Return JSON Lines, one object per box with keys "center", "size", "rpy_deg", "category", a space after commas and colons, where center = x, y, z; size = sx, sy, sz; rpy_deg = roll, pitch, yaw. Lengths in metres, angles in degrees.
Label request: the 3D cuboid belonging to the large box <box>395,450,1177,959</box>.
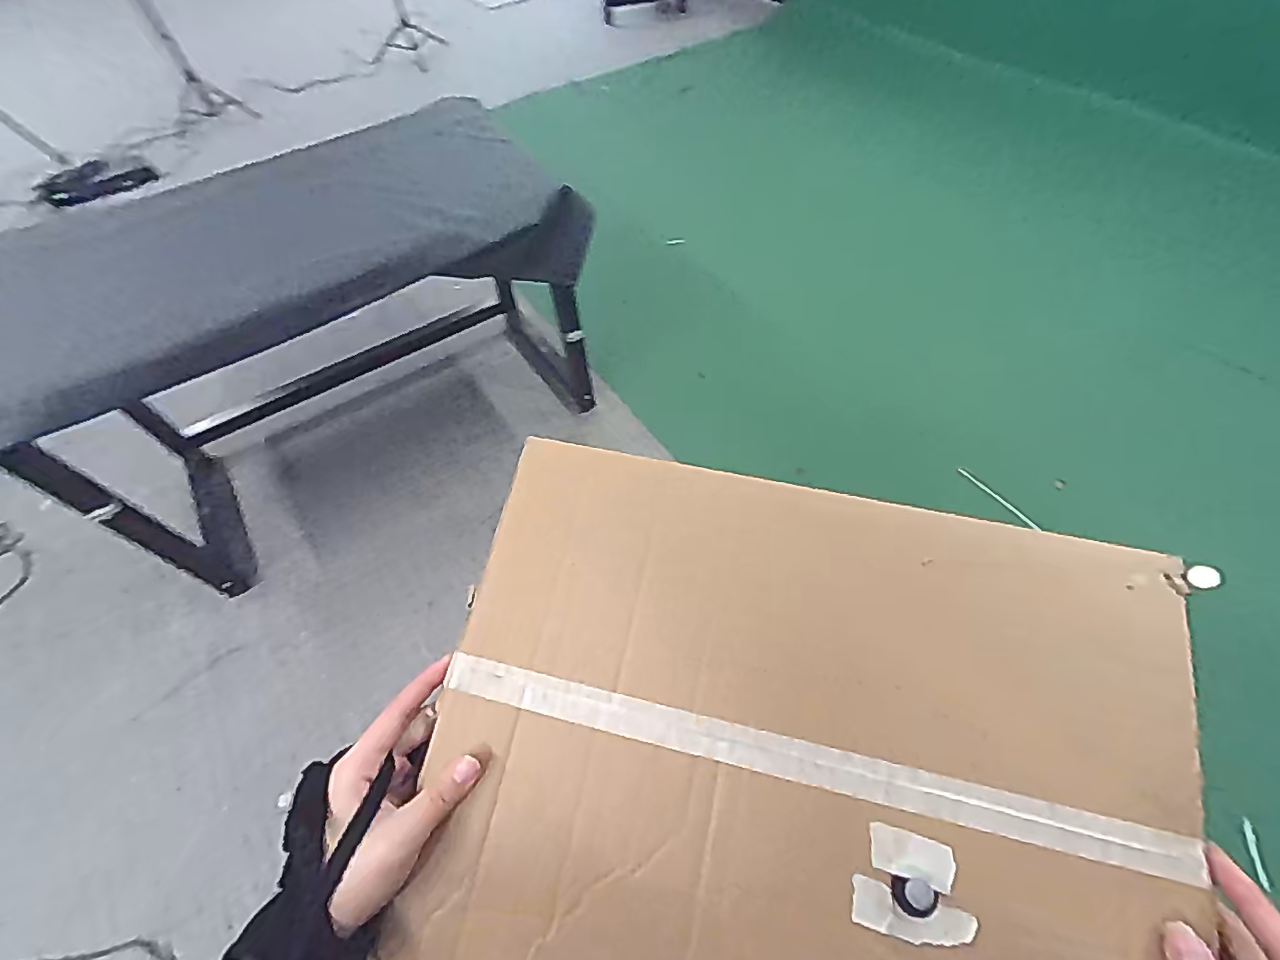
{"center": [0.095, 0.199, 0.456], "size": [0.408, 0.320, 0.320], "rpy_deg": [10, 73, 7], "category": "large box"}
